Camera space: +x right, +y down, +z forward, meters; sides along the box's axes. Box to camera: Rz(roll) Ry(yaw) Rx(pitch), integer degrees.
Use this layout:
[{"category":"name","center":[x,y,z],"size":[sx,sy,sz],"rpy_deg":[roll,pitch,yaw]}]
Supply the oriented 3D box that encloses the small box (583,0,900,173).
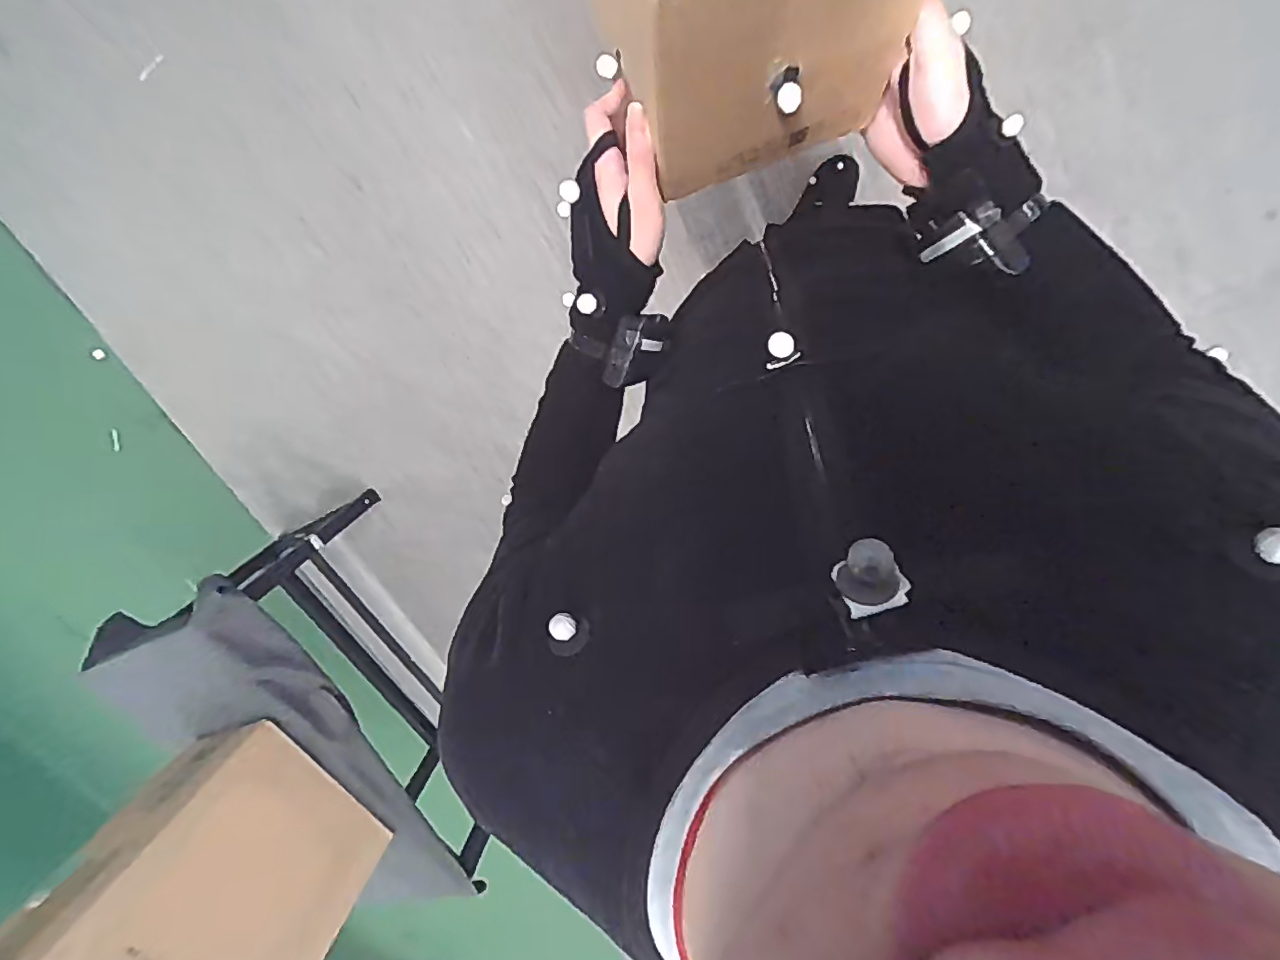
[{"category":"small box","center":[0.052,-0.323,0.327],"size":[0.168,0.176,0.179],"rpy_deg":[-19,85,2]}]
